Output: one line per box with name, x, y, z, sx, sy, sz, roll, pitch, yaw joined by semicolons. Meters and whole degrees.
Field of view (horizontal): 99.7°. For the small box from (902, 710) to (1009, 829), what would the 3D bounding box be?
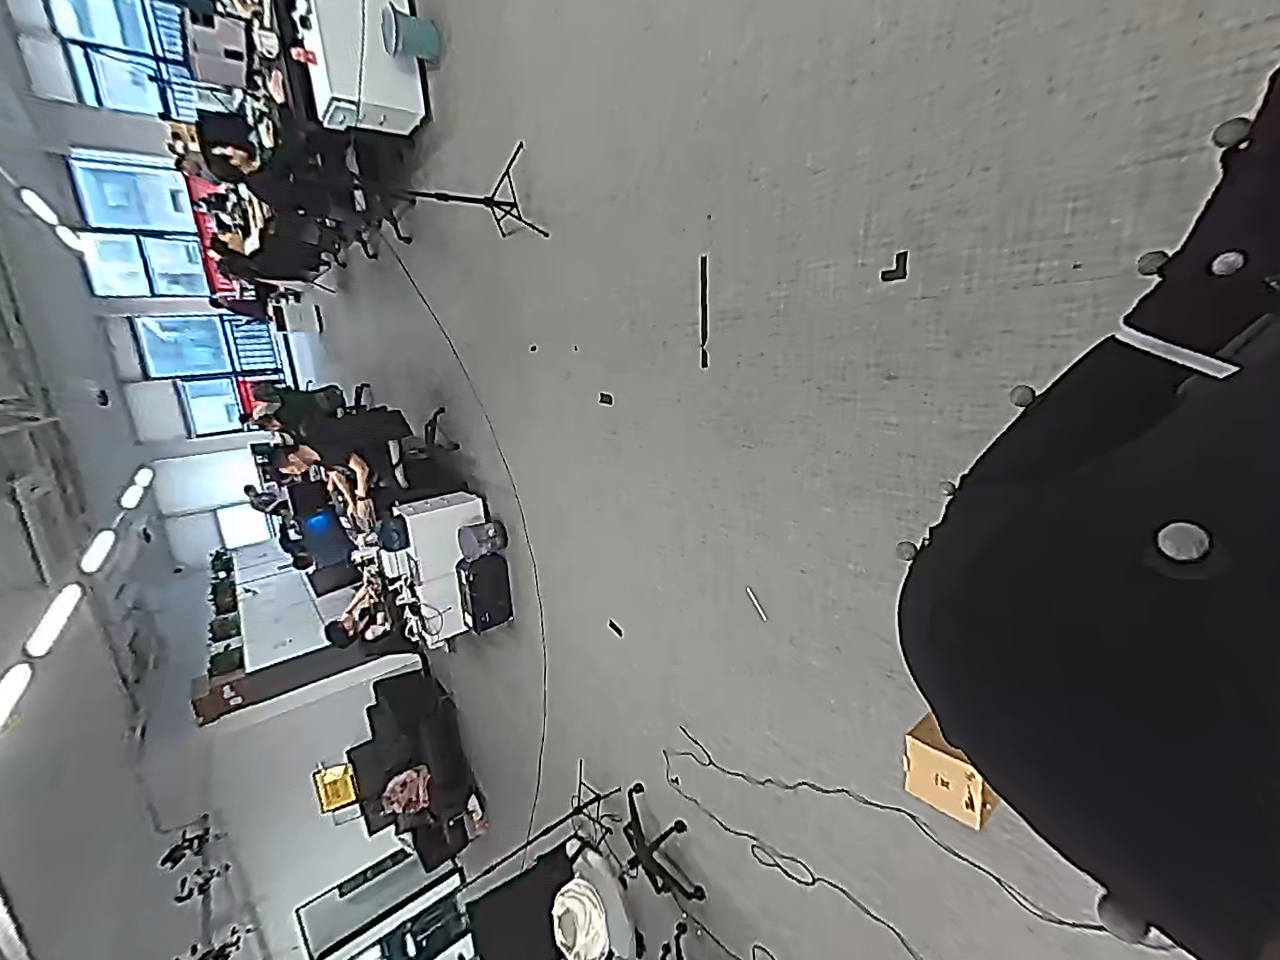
small box;0.783;0.706;1.347;0.179;0.176;0.168;12;112;52
